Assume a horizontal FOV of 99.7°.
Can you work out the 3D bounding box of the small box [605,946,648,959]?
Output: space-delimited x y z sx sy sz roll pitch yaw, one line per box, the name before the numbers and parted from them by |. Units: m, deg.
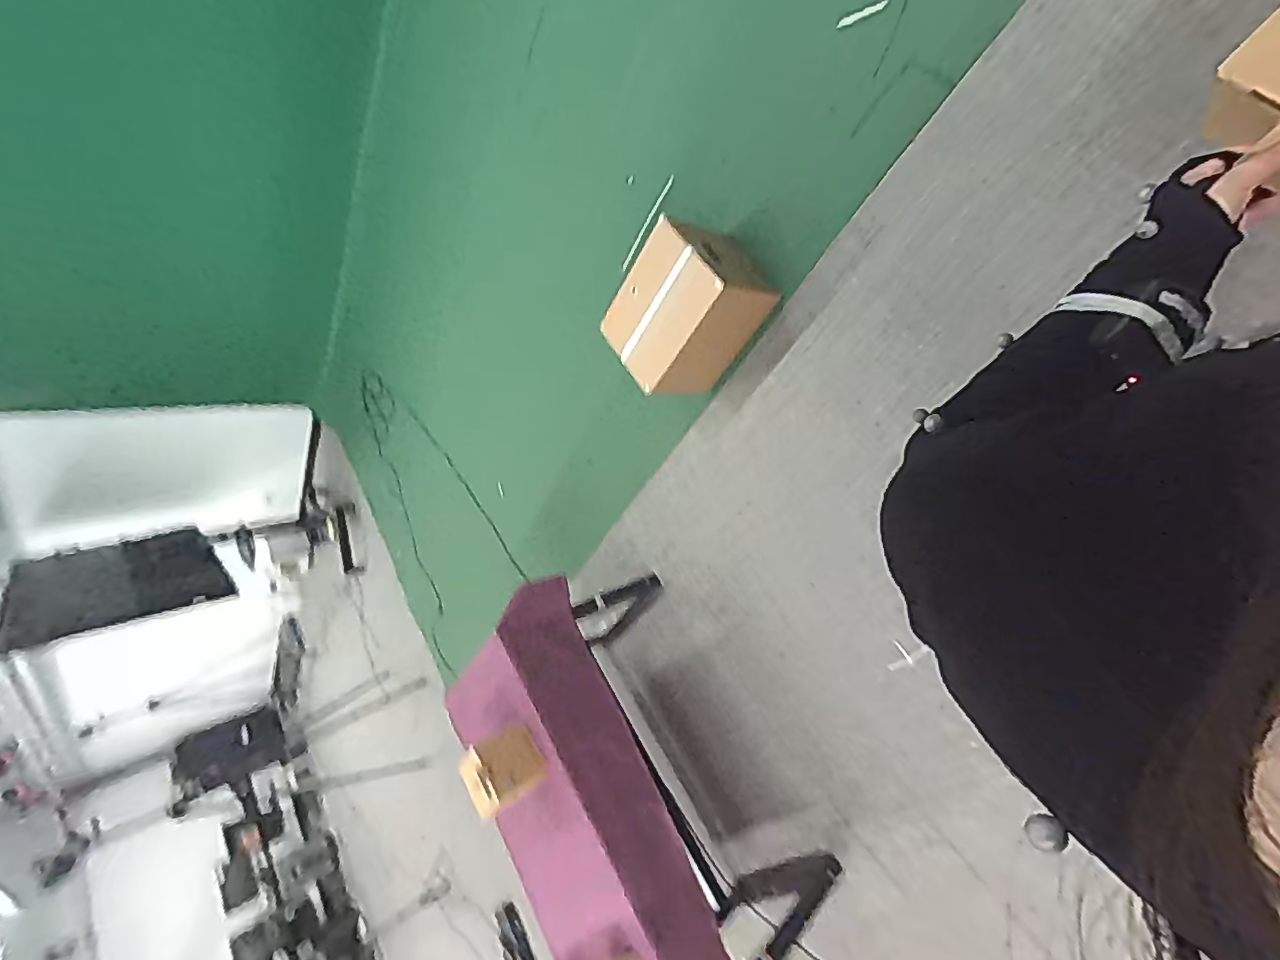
small box | -0.050 1.320 1.357 0.168 0.176 0.179 56 133 23
